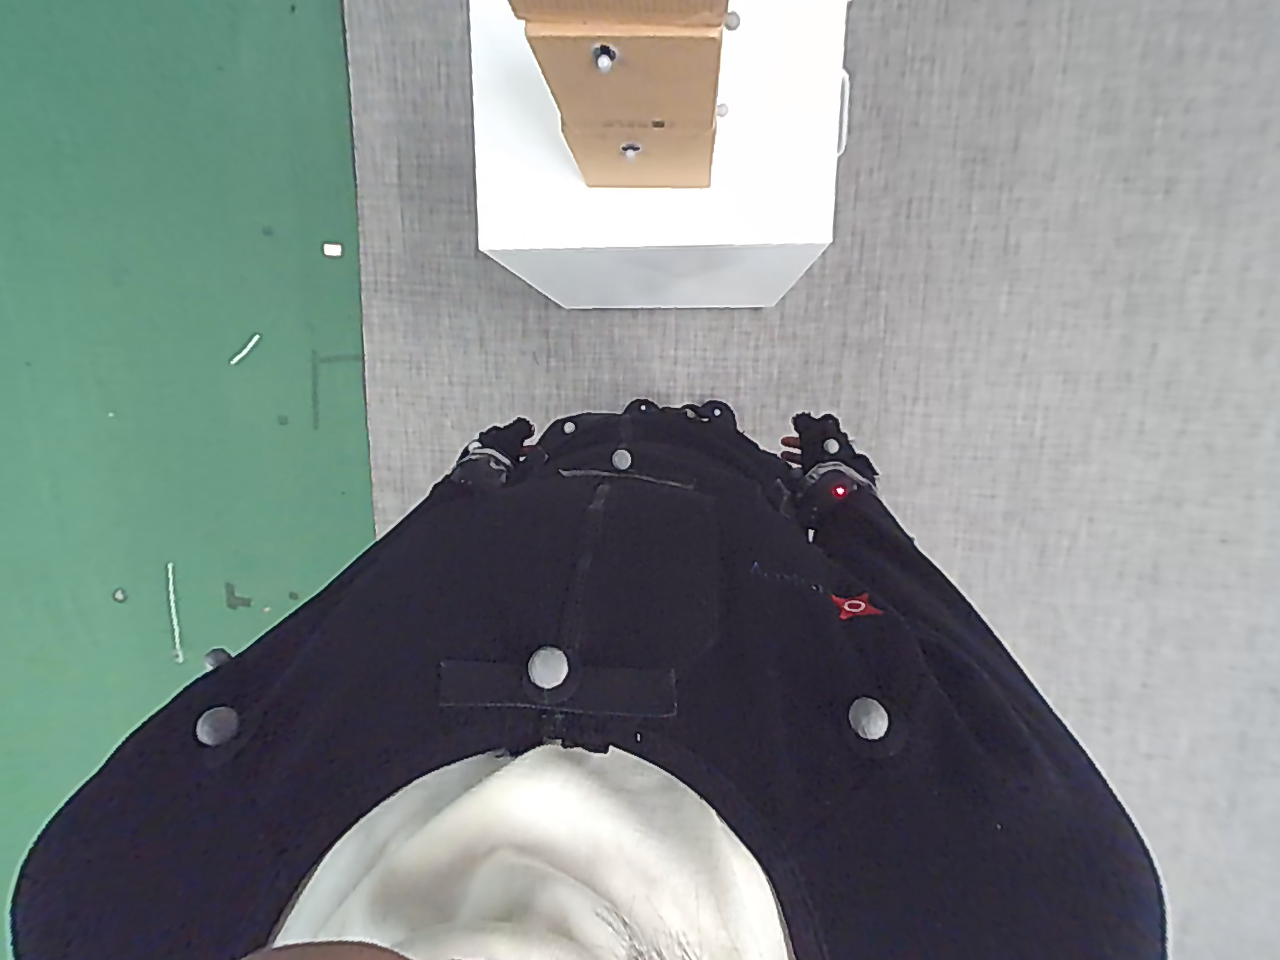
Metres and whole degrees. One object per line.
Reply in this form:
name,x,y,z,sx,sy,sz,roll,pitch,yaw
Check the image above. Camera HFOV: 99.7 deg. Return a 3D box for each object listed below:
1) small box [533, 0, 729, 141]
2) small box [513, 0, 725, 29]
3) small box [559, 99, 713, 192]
small box,-0.003,-0.460,0.519,0.168,0.176,0.179,1,99,4
small box,-0.020,-0.441,0.356,0.179,0.176,0.168,5,100,4
small box,0.005,-0.479,0.678,0.179,0.176,0.168,3,98,5
